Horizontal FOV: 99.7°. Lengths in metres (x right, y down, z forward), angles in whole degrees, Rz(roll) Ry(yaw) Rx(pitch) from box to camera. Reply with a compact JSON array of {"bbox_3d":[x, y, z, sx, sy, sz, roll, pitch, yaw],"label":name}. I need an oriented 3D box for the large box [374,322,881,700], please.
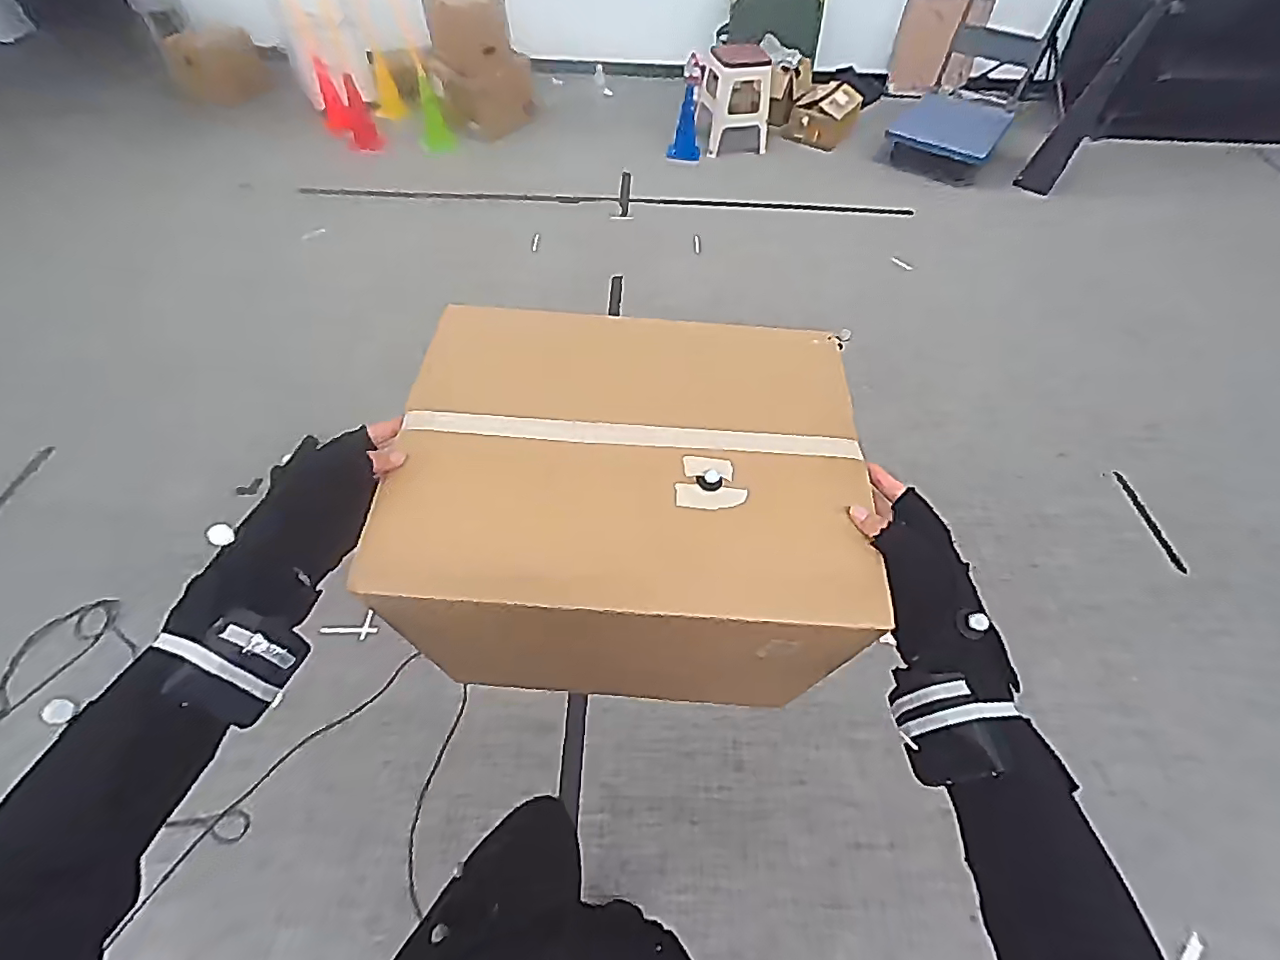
[{"bbox_3d":[-0.010,0.052,0.620,0.408,0.320,0.320,5,58,0],"label":"large box"}]
